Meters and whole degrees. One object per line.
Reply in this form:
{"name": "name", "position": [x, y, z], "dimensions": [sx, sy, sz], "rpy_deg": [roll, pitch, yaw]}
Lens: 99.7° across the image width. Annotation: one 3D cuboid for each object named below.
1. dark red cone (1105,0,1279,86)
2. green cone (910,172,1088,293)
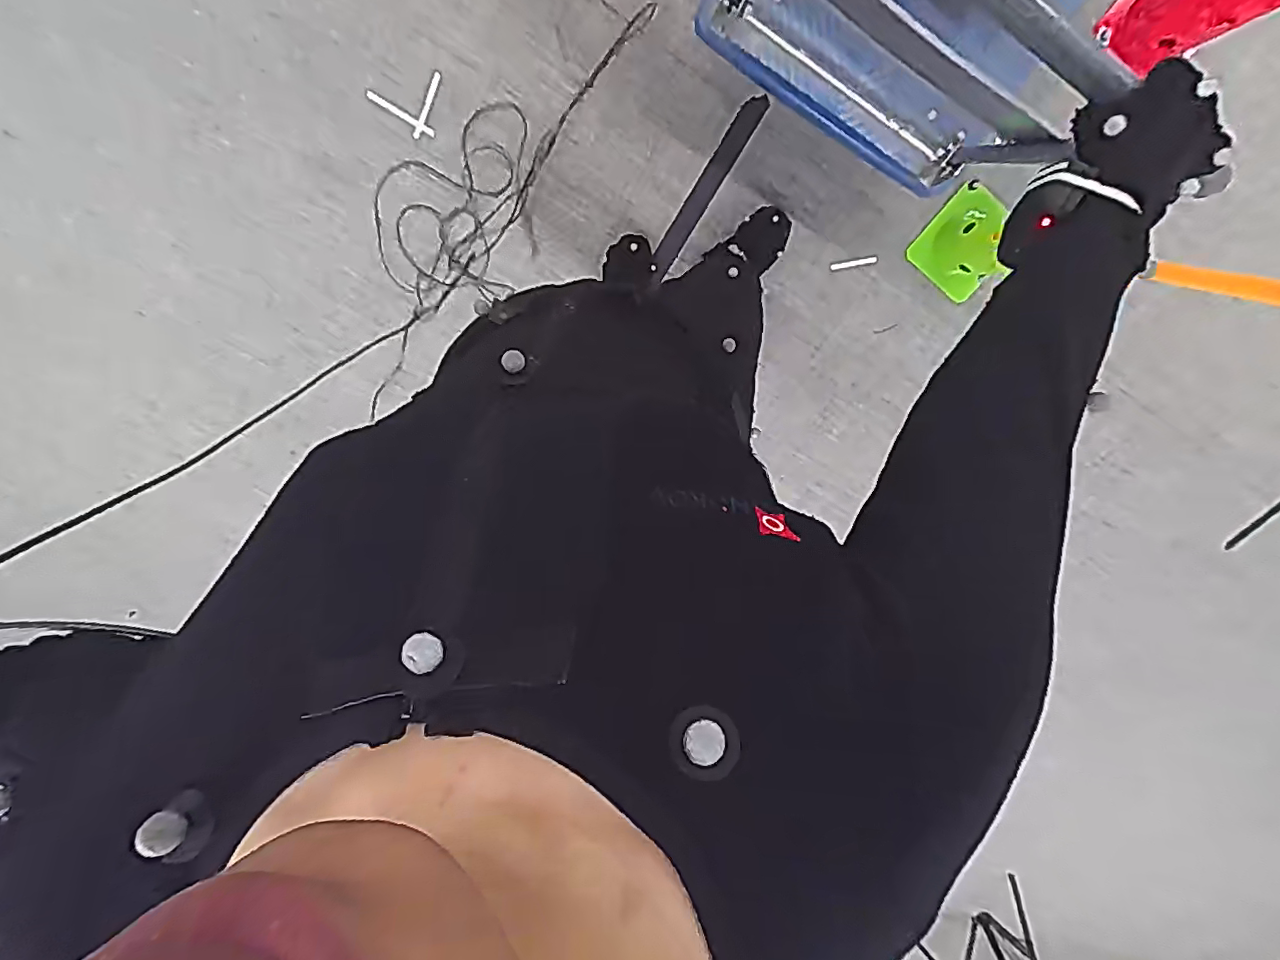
{"name": "dark red cone", "position": [1.024, -0.832, 0.890], "dimensions": [0.201, 0.394, 0.202], "rpy_deg": [28, 115, -14]}
{"name": "green cone", "position": [0.753, -0.485, 1.096], "dimensions": [0.202, 0.368, 0.200], "rpy_deg": [32, 114, -15]}
